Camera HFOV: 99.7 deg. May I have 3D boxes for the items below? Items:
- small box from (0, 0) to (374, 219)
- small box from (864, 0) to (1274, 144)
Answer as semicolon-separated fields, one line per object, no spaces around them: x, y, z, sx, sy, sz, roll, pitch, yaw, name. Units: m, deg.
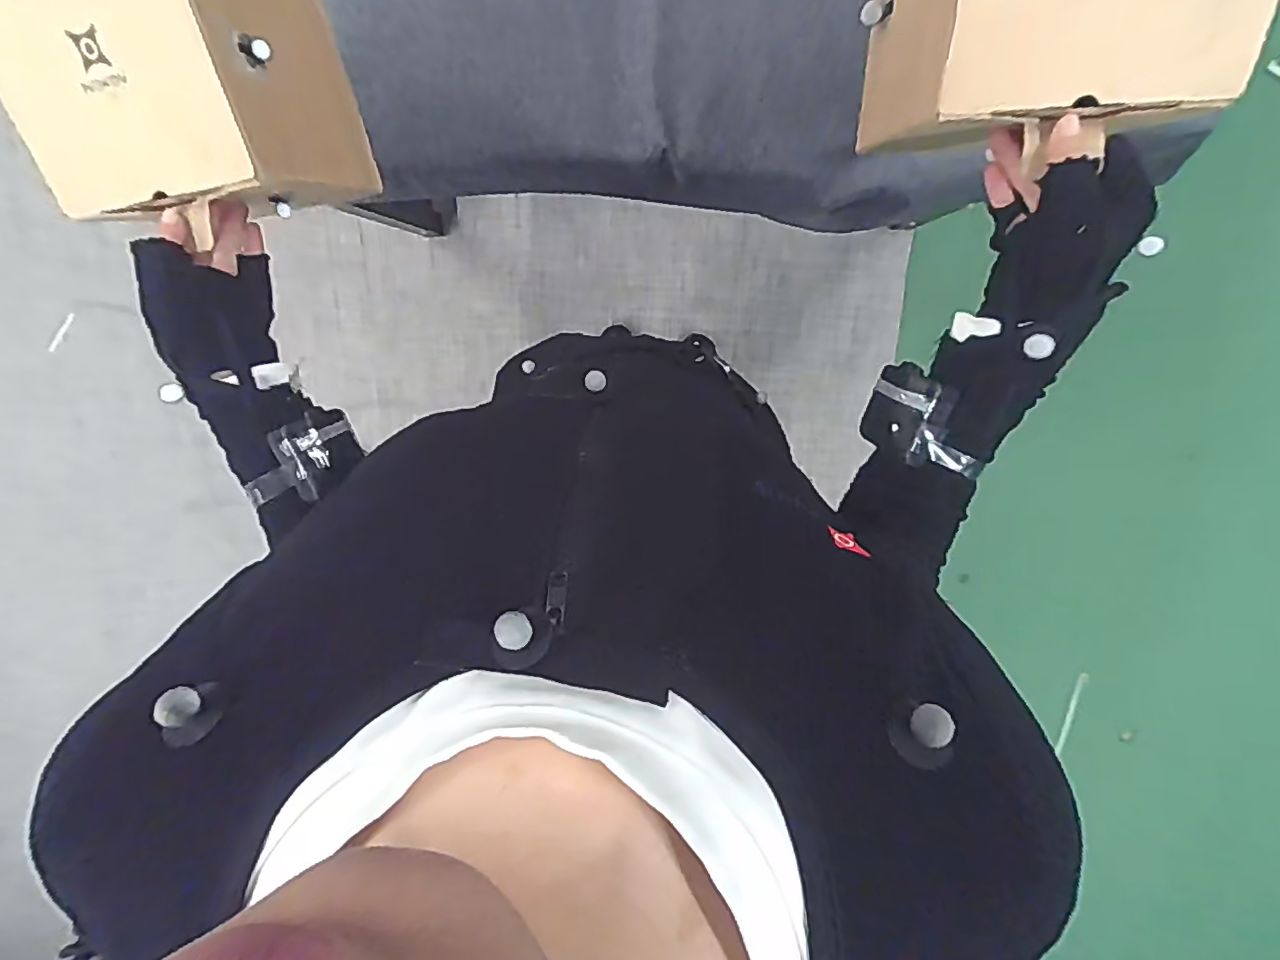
-0.343;-0.311;0.417;0.168;0.176;0.179;-6;114;10;small box
0.258;-0.324;0.347;0.168;0.176;0.179;1;116;4;small box
